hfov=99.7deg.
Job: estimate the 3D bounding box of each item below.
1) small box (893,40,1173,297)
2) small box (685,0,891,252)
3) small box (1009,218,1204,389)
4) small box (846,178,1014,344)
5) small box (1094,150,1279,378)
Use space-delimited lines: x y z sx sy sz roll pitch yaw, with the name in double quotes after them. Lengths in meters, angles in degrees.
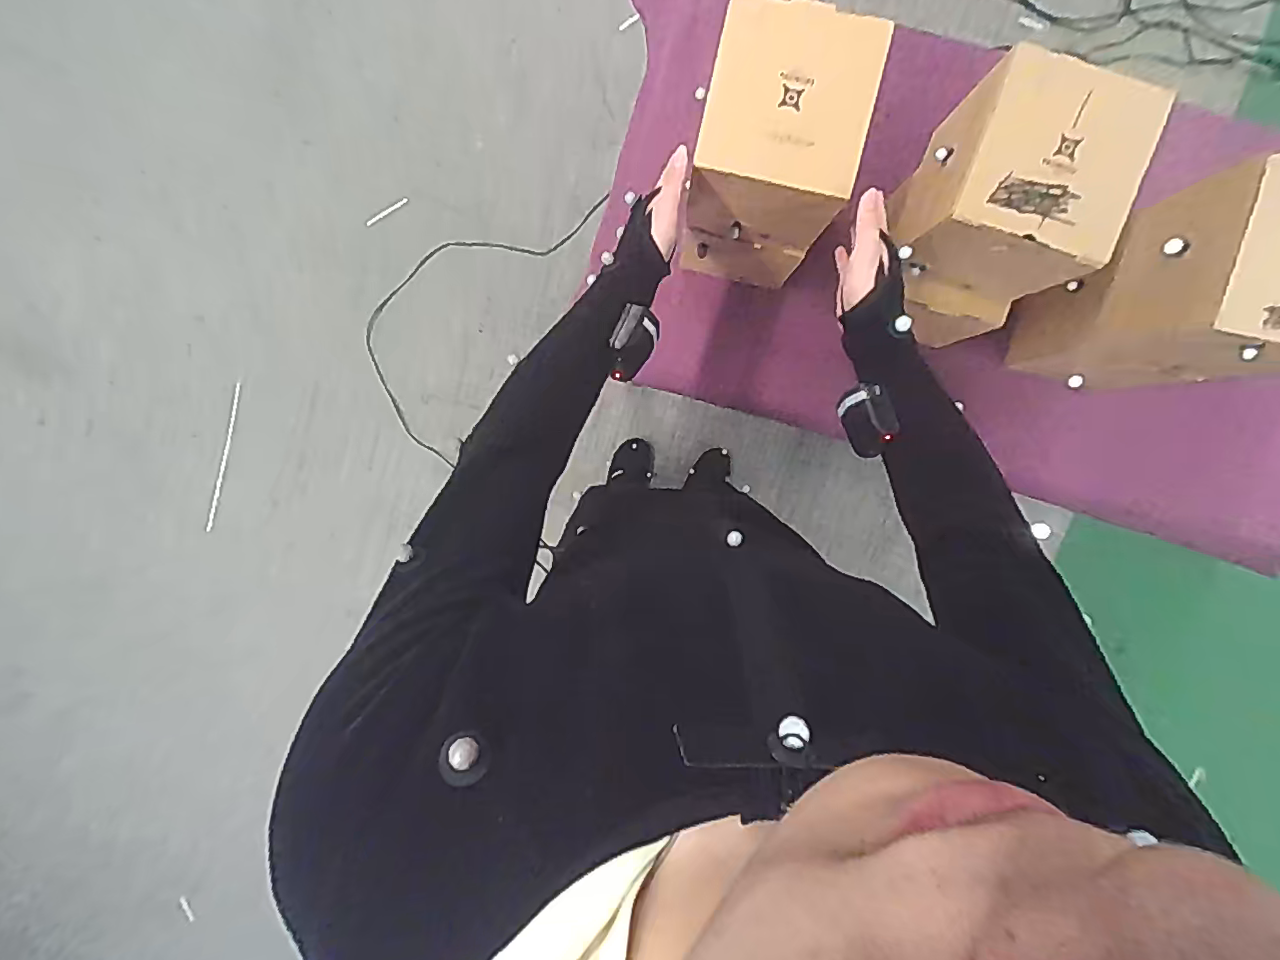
0.417 -0.328 0.611 0.168 0.176 0.179 19 95 0 "small box"
0.150 -0.388 0.613 0.168 0.176 0.179 13 95 1 "small box"
0.674 -0.239 0.774 0.168 0.176 0.179 13 95 1 "small box"
0.419 -0.311 0.778 0.168 0.176 0.179 14 96 0 "small box"
0.670 -0.226 0.610 0.168 0.176 0.179 12 94 1 "small box"
